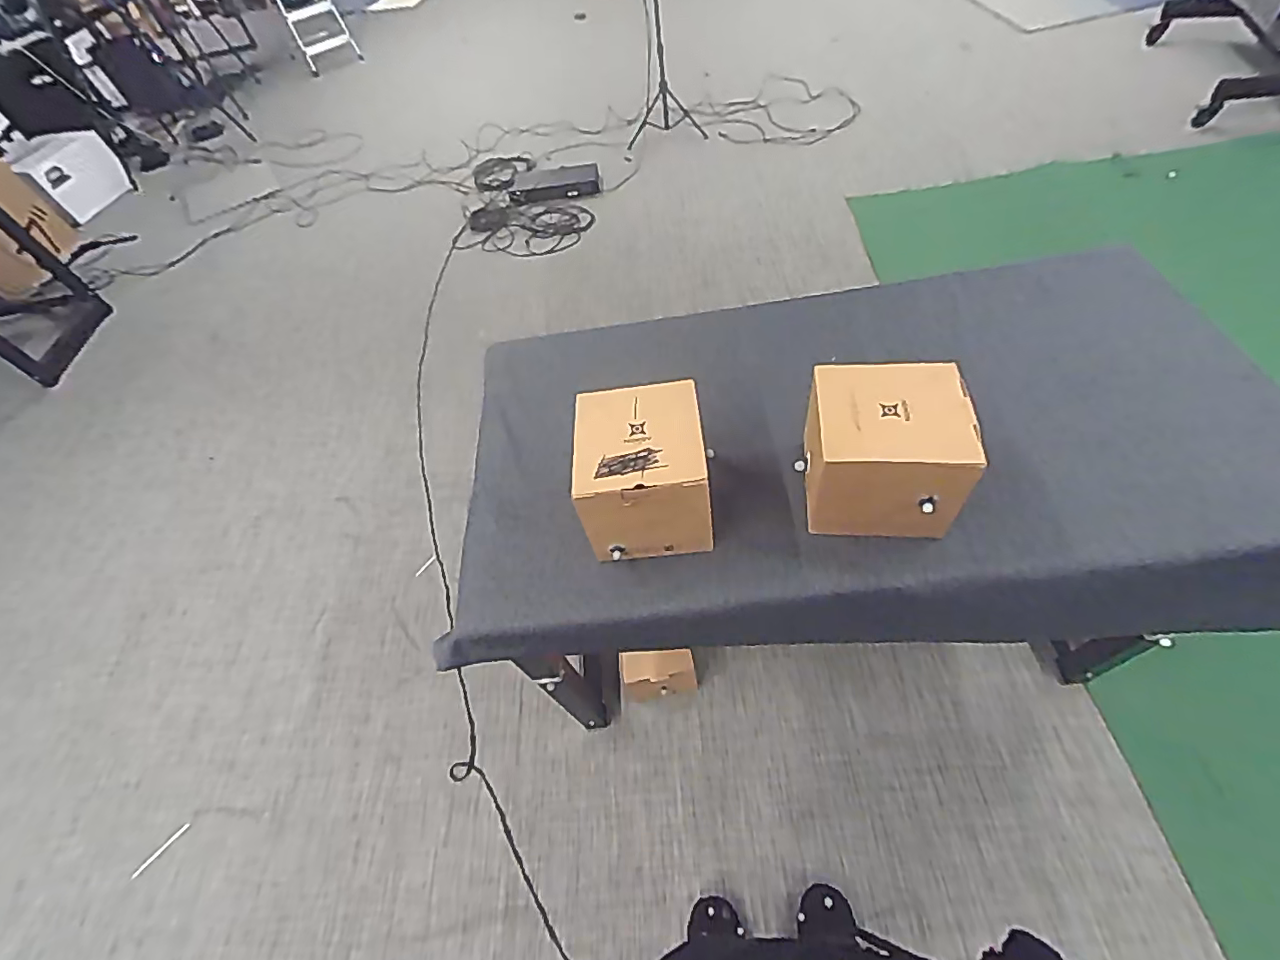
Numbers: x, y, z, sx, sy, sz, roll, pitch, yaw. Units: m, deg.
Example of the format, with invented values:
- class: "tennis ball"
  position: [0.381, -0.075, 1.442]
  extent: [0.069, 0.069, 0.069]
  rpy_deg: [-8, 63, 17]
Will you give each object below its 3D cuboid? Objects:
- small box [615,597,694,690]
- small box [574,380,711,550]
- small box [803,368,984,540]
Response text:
- class: "small box"
  position: [0.039, 0.415, 1.354]
  extent: [0.168, 0.176, 0.179]
  rpy_deg: [-10, 55, 1]
- class: "small box"
  position: [0.010, -0.013, 0.757]
  extent: [0.168, 0.176, 0.179]
  rpy_deg: [-5, 53, 5]
- class: "small box"
  position: [0.320, -0.031, 0.726]
  extent: [0.179, 0.176, 0.168]
  rpy_deg: [1, 54, 11]
